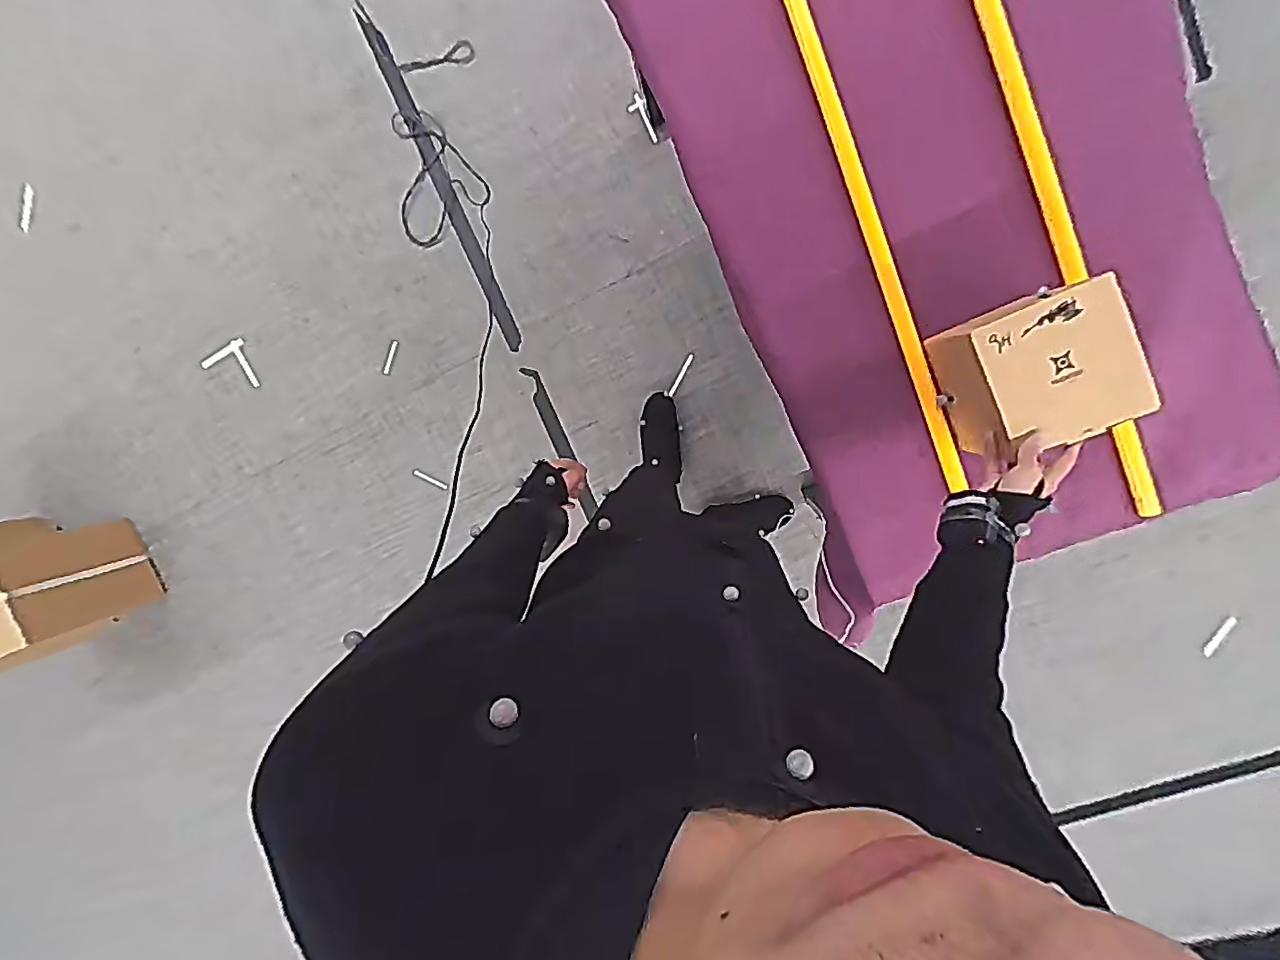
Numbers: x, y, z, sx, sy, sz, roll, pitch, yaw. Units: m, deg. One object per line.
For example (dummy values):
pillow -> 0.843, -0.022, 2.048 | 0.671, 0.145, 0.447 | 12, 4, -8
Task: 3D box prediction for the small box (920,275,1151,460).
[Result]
small box -> 0.510, -0.146, 0.724 | 0.168, 0.176, 0.179 | -22, 97, 10
